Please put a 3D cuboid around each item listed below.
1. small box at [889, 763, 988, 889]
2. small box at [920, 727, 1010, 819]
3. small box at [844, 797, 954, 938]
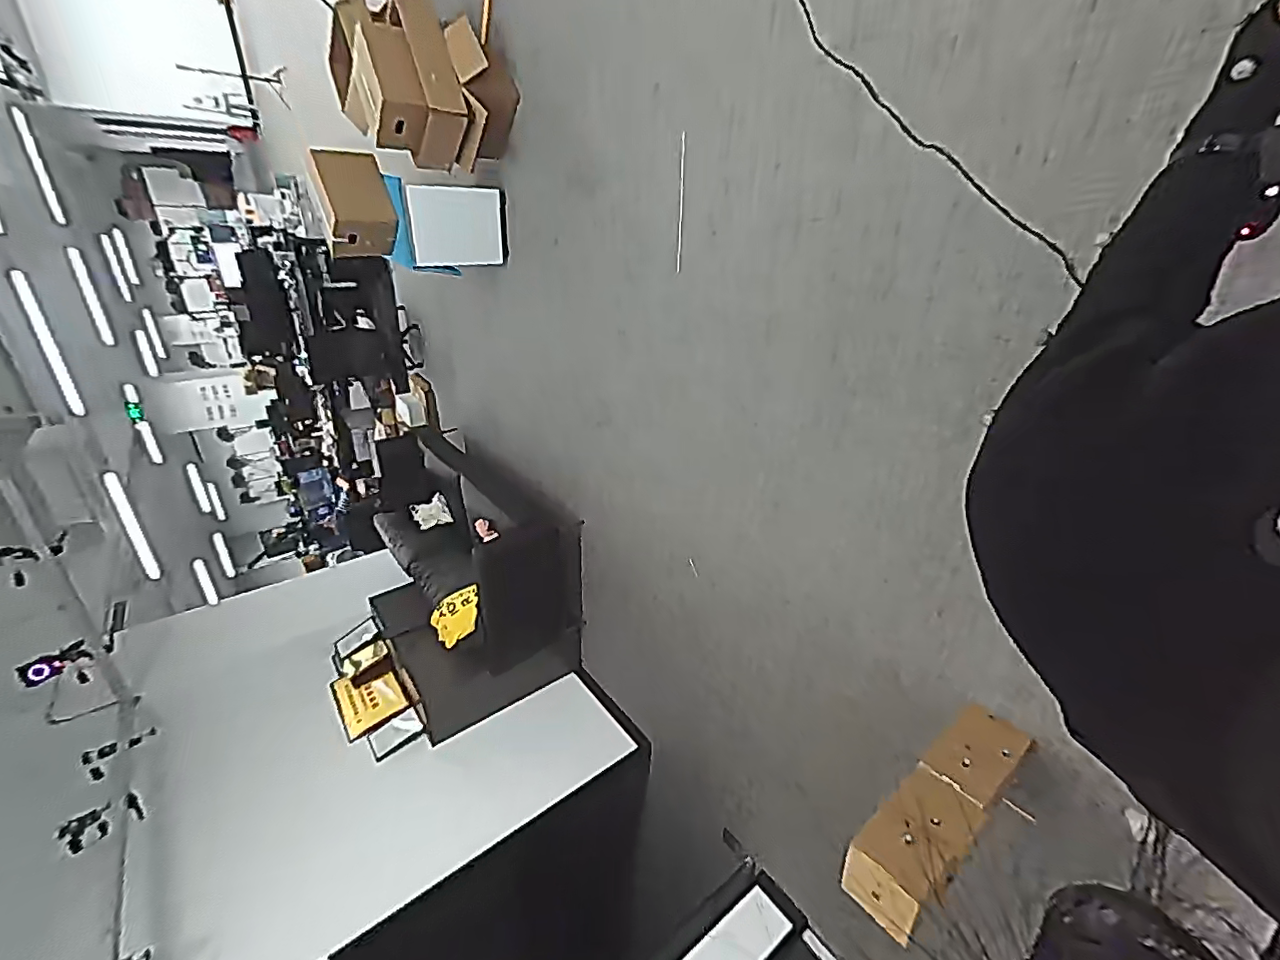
[{"bbox_3d":[0.745,0.868,1.374,0.179,0.176,0.168,30,129,46],"label":"small box"},{"bbox_3d":[0.870,0.815,1.468,0.168,0.176,0.179,29,127,46],"label":"small box"},{"bbox_3d":[0.614,0.910,1.284,0.168,0.176,0.179,27,127,46],"label":"small box"}]
